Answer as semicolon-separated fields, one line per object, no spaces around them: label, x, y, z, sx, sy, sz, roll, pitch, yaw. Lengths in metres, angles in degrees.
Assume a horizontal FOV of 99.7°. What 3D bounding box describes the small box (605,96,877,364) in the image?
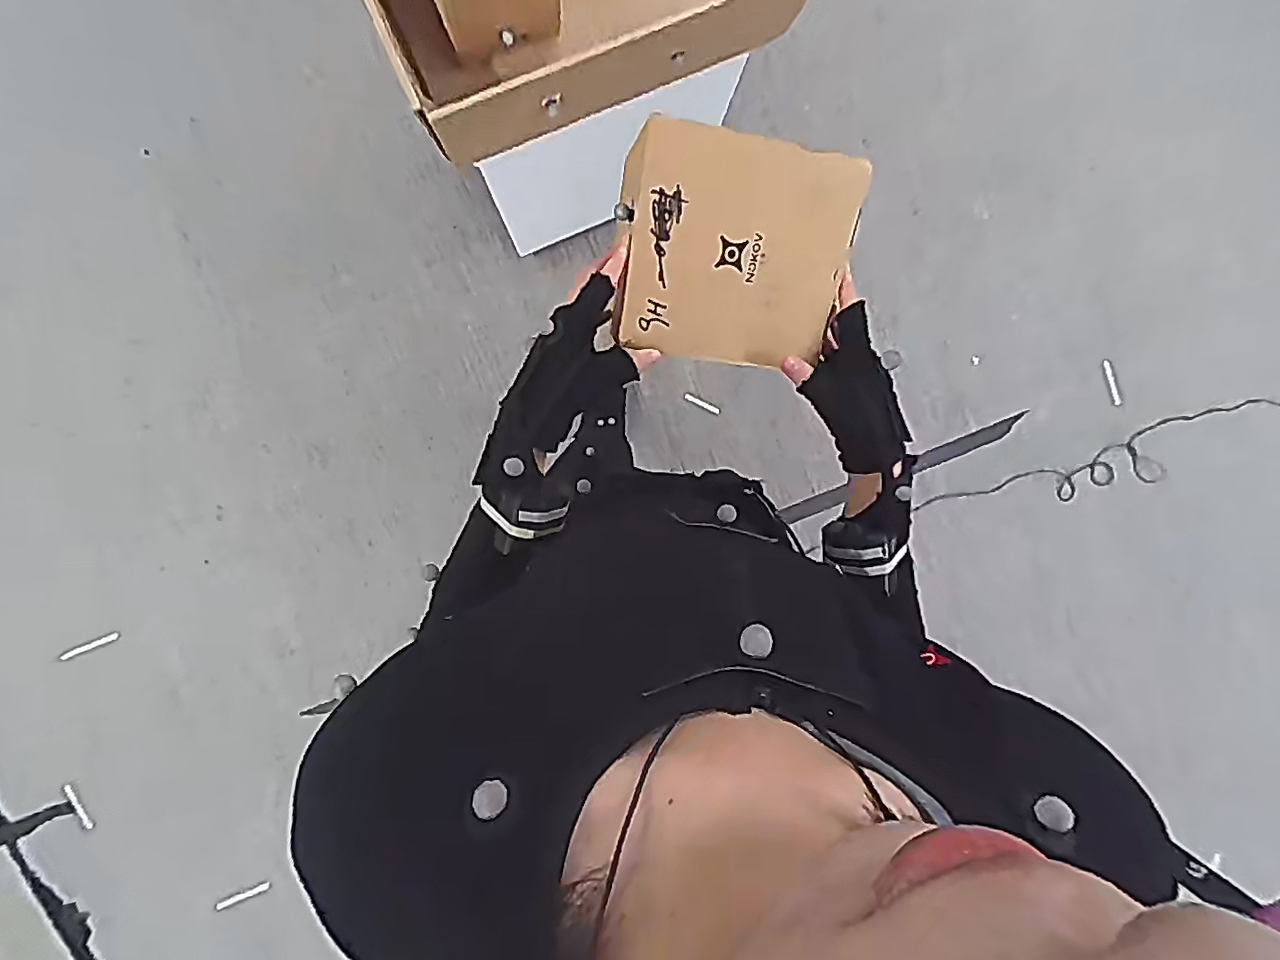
small box;0.070;-0.213;0.490;0.179;0.176;0.168;6;111;-10

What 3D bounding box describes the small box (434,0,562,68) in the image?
small box;-0.213;-0.715;0.725;0.168;0.176;0.179;-24;102;-3
